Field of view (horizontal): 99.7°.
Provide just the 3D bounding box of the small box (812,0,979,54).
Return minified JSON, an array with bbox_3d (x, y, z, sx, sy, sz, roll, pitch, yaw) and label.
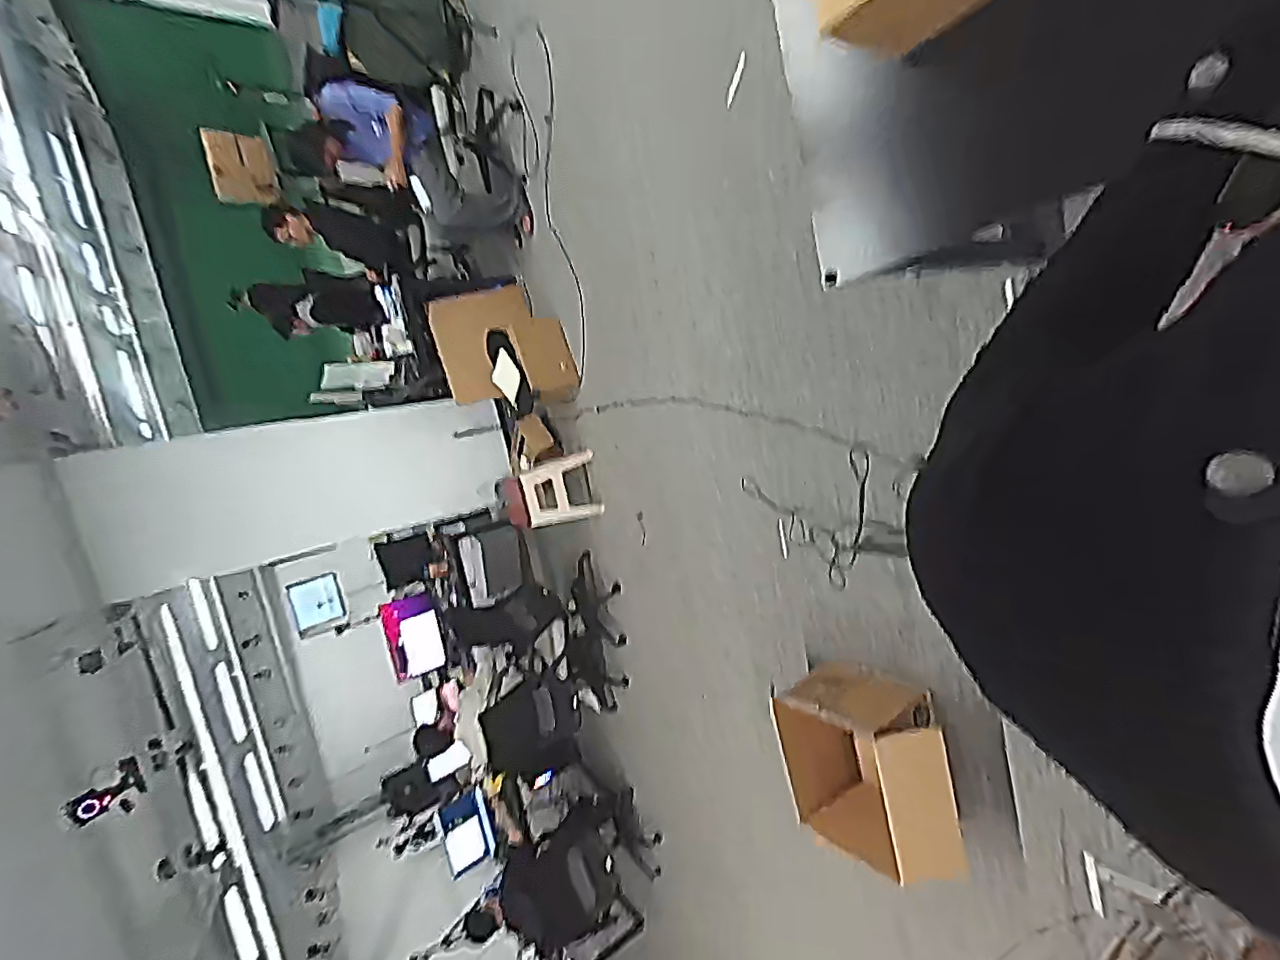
[{"bbox_3d":[0.310,-0.631,0.613,0.179,0.176,0.168,-1,103,55],"label":"small box"}]
